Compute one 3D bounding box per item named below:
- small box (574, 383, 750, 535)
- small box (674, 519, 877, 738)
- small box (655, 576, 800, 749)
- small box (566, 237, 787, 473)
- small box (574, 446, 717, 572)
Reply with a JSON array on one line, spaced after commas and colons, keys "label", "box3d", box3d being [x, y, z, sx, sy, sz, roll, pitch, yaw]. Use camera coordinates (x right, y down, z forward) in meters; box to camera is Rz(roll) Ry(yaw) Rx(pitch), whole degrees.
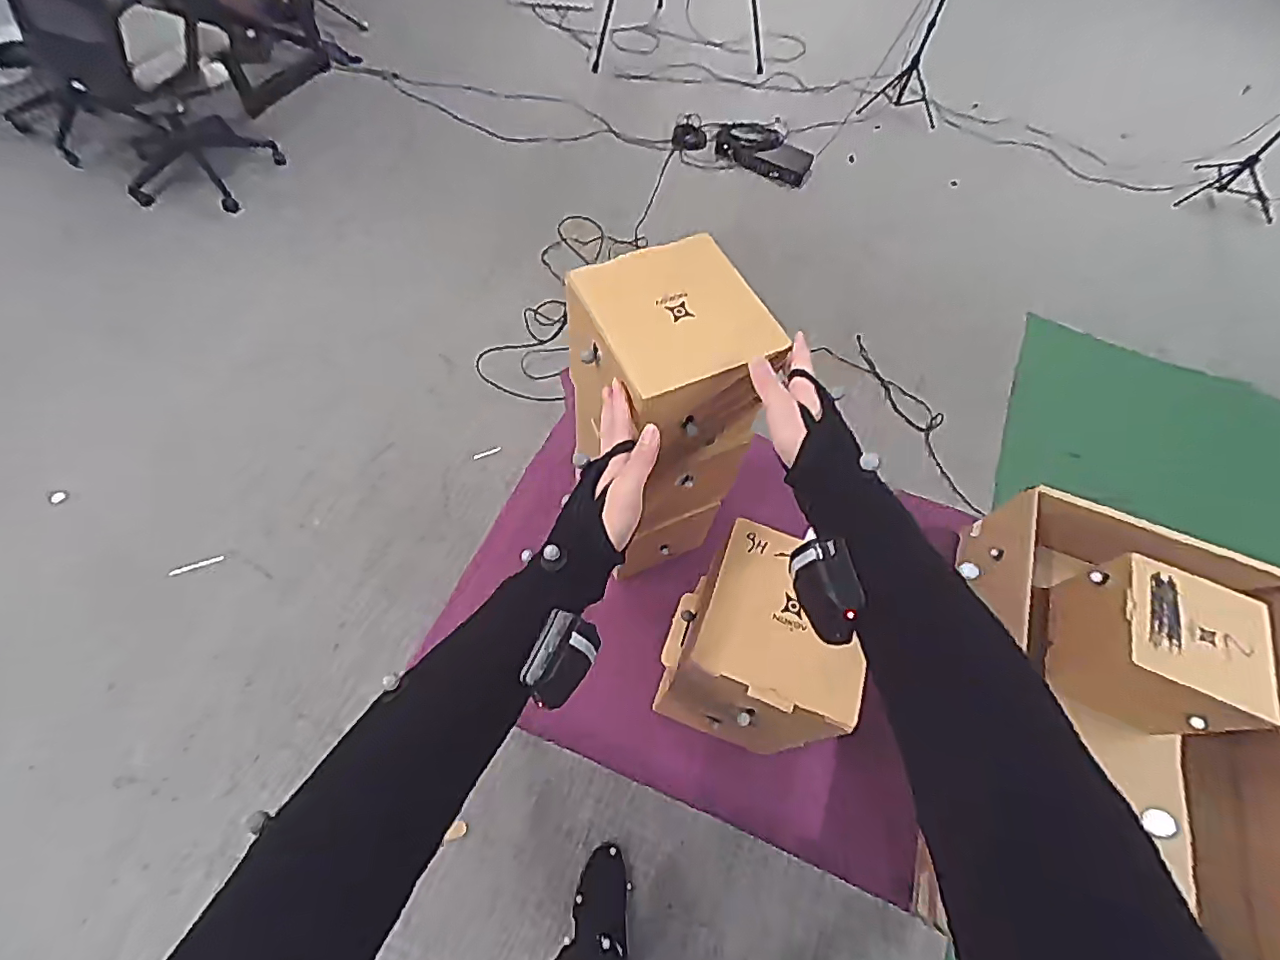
[{"label": "small box", "box3d": [0.021, -0.047, 0.741, 0.179, 0.176, 0.168, -20, 66, -16]}, {"label": "small box", "box3d": [0.145, 0.179, 0.624, 0.168, 0.176, 0.179, 21, 61, 6]}, {"label": "small box", "box3d": [0.130, 0.264, 0.763, 0.179, 0.176, 0.168, 20, 60, 6]}, {"label": "small box", "box3d": [0.029, -0.128, 0.602, 0.168, 0.176, 0.179, -22, 66, -16]}, {"label": "small box", "box3d": [0.001, 0.034, 0.881, 0.168, 0.176, 0.179, -20, 65, -16]}]
